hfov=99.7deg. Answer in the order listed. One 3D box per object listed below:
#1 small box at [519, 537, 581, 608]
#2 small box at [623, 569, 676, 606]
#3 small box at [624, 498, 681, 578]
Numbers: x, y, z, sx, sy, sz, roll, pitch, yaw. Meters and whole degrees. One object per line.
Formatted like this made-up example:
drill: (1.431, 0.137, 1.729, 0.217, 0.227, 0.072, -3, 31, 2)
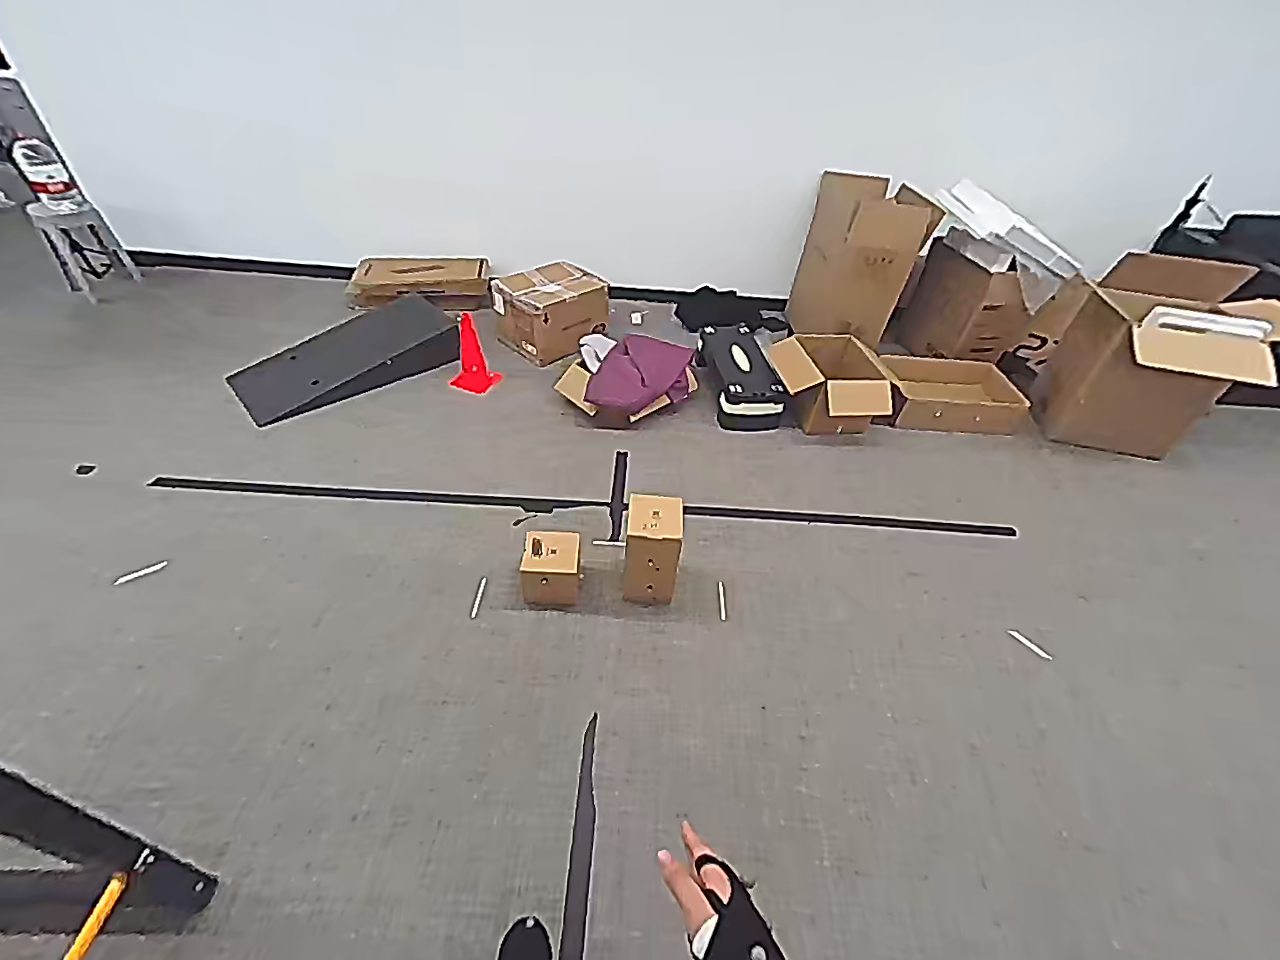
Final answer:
small box: (-0.288, 0.304, 1.764, 0.179, 0.176, 0.168, 3, 42, -3)
small box: (0.030, 0.301, 1.802, 0.168, 0.176, 0.179, 3, 42, -2)
small box: (0.038, 0.182, 1.686, 0.168, 0.176, 0.179, 4, 42, 0)
